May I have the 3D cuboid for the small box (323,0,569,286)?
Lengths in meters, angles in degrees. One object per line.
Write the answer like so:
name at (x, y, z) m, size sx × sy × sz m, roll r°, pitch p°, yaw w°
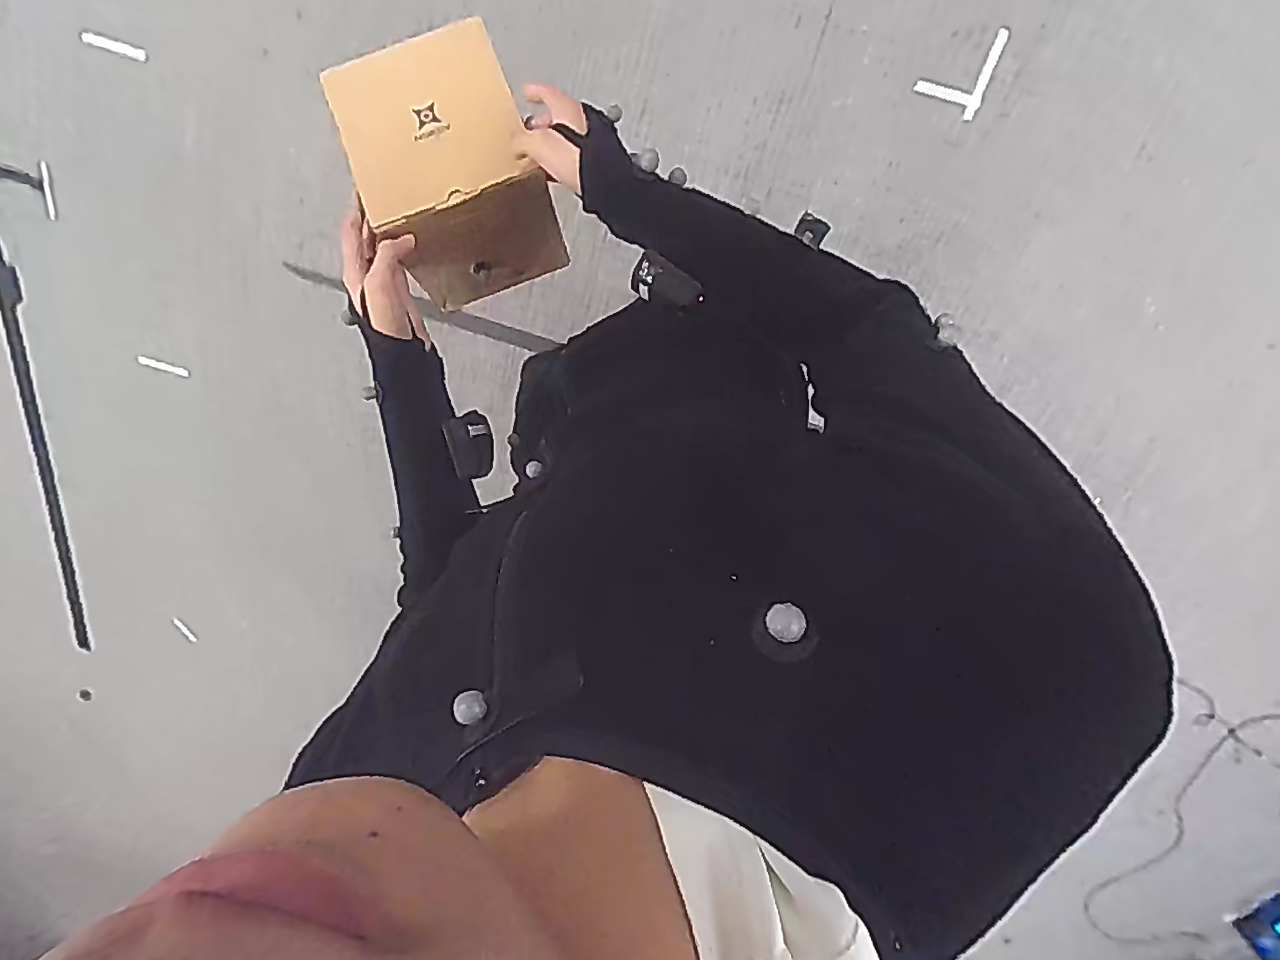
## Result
small box at (-0.186, -0.340, 0.567) m, size 0.168 × 0.176 × 0.179 m, roll -21°, pitch 83°, yaw -2°
